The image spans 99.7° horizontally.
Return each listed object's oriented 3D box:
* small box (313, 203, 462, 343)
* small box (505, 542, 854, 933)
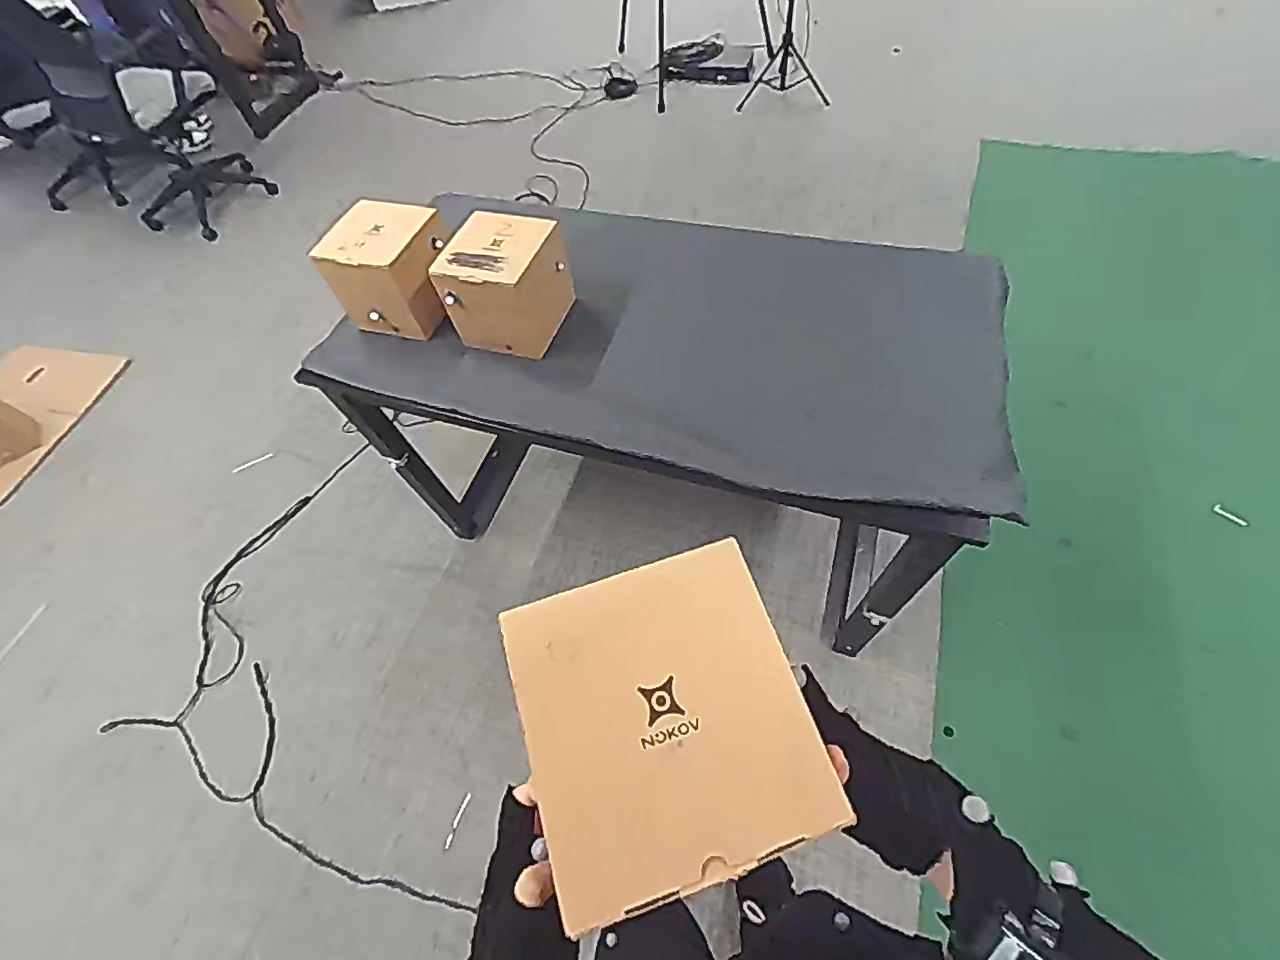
[{"bbox_3d":[-0.462,-0.391,1.027,0.168,0.176,0.179,13,60,12],"label":"small box"},{"bbox_3d":[0.014,0.171,0.392,0.168,0.176,0.179,-17,66,-8],"label":"small box"}]
